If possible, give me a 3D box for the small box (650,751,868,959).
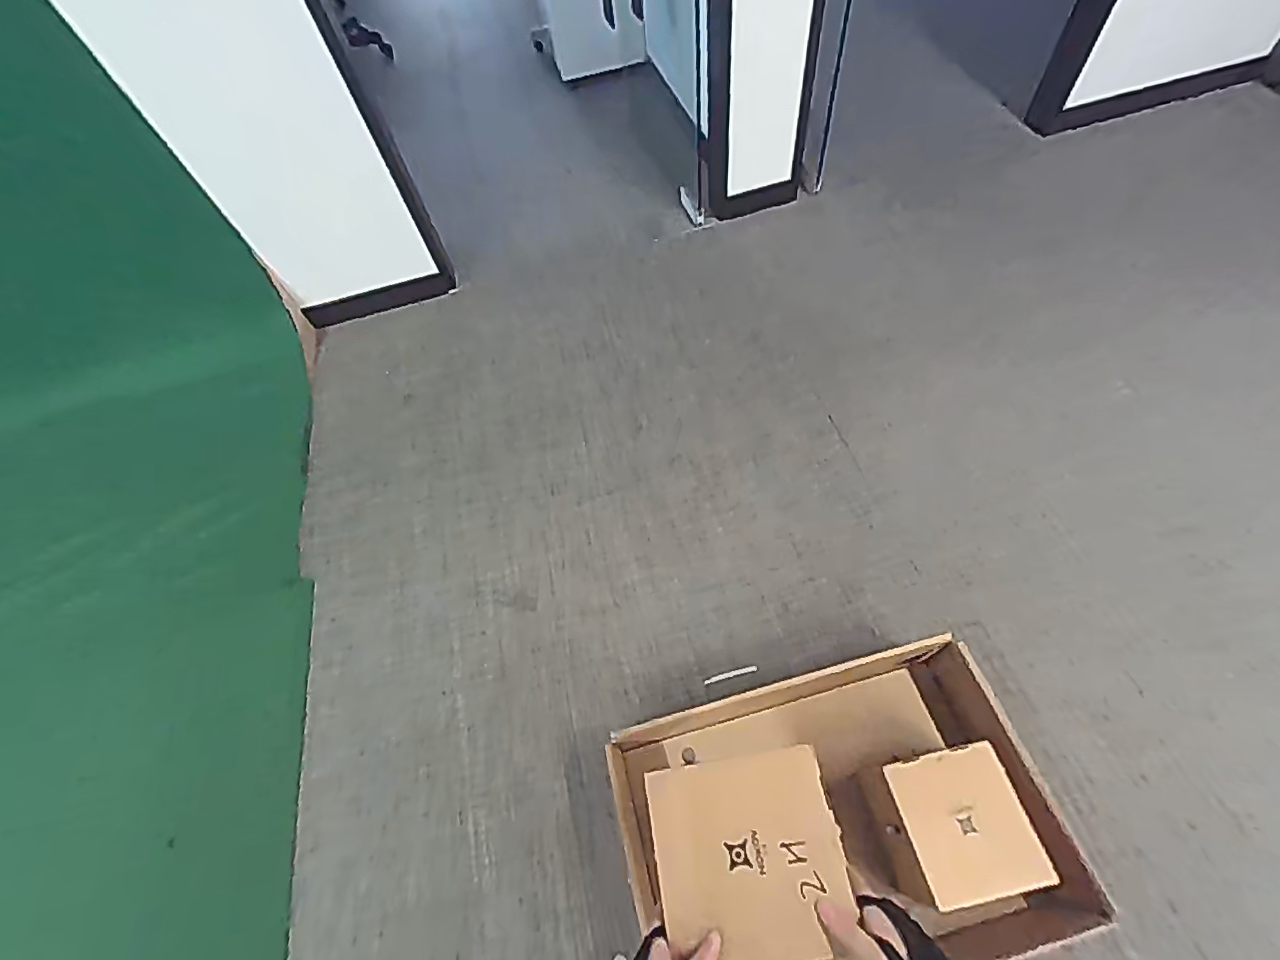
[{"bbox_3d":[0.118,0.400,0.582,0.179,0.176,0.168,-12,59,4],"label":"small box"}]
